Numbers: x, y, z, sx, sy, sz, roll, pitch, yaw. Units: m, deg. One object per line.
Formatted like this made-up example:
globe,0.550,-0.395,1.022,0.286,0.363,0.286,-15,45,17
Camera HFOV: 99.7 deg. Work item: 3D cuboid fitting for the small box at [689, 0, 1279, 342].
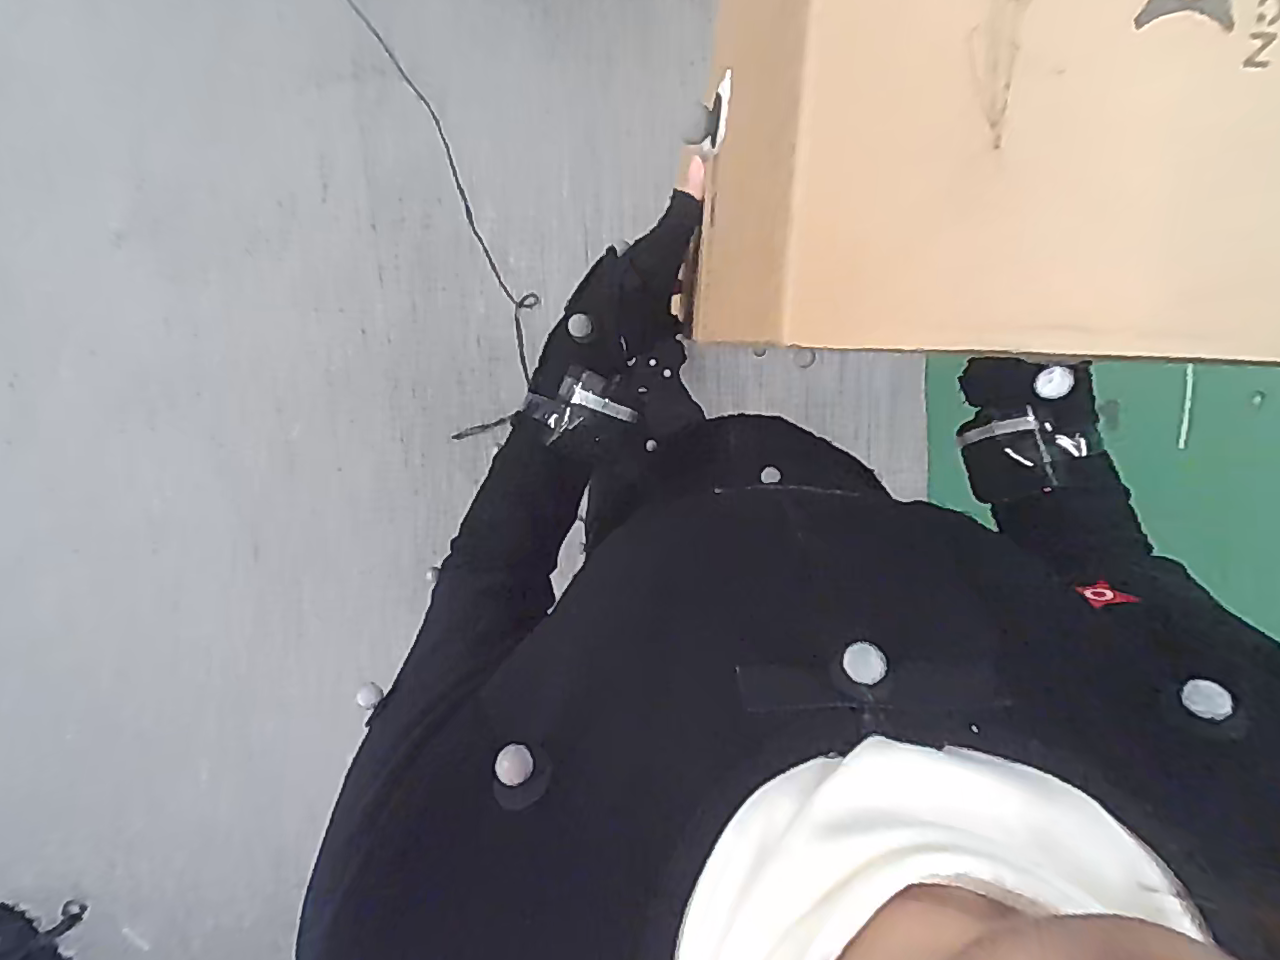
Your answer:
small box,0.116,-0.139,0.198,0.179,0.176,0.168,2,104,0
